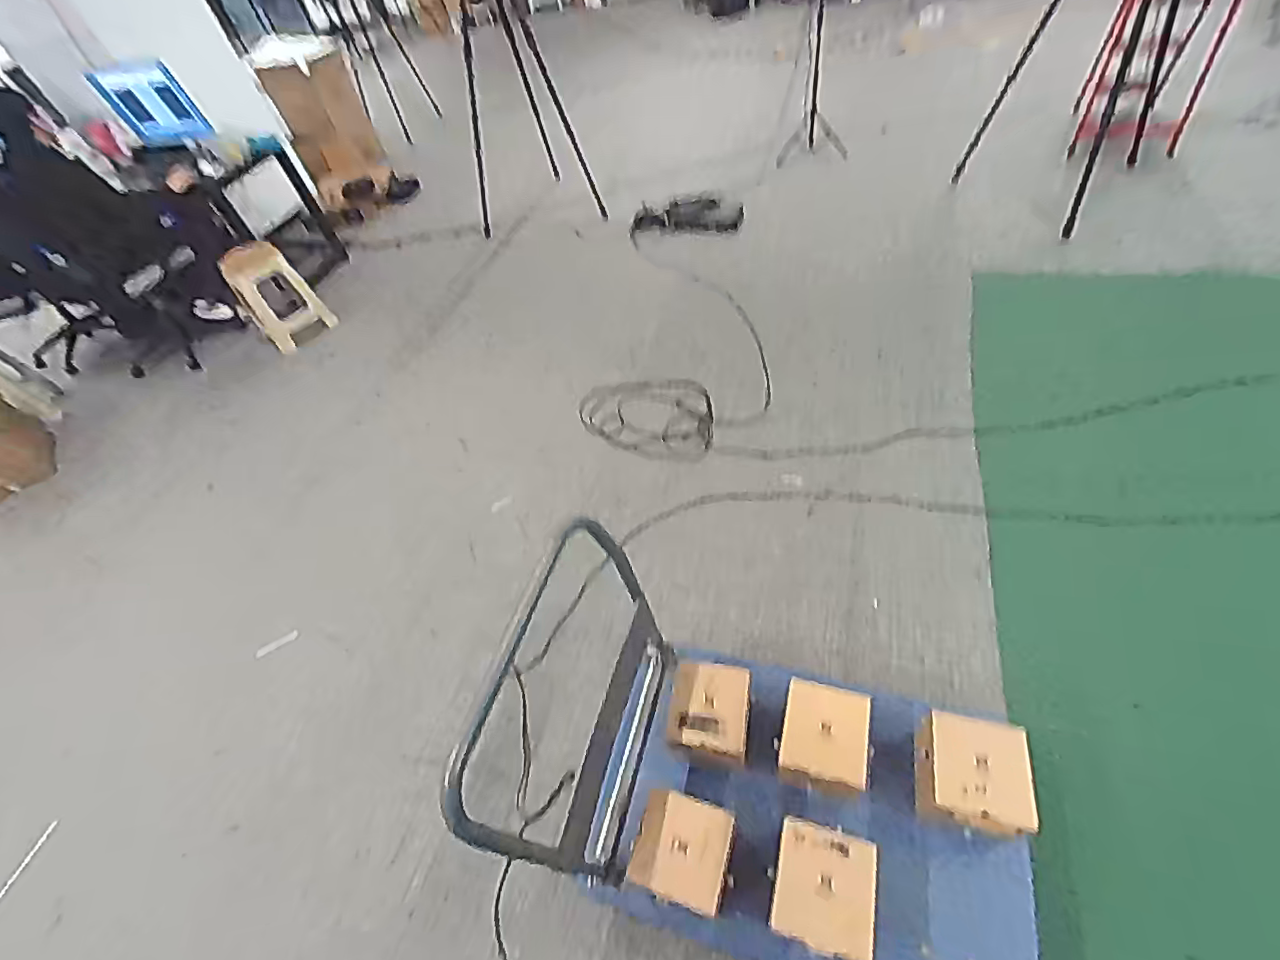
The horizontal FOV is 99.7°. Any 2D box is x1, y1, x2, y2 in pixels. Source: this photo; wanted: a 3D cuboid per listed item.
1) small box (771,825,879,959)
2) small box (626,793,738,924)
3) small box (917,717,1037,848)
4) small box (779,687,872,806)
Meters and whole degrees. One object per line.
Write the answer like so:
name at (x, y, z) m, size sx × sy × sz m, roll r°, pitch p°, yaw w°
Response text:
small box at (0.342, 0.782, 1.013) m, size 0.168 × 0.176 × 0.179 m, roll 9°, pitch 53°, yaw 18°
small box at (0.093, 0.762, 1.087) m, size 0.179 × 0.176 × 0.168 m, roll 11°, pitch 54°, yaw 19°
small box at (0.663, 0.609, 1.088) m, size 0.168 × 0.176 × 0.179 m, roll 6°, pitch 53°, yaw 19°
small box at (0.399, 0.580, 1.175) m, size 0.168 × 0.176 × 0.179 m, roll 8°, pitch 54°, yaw 18°
